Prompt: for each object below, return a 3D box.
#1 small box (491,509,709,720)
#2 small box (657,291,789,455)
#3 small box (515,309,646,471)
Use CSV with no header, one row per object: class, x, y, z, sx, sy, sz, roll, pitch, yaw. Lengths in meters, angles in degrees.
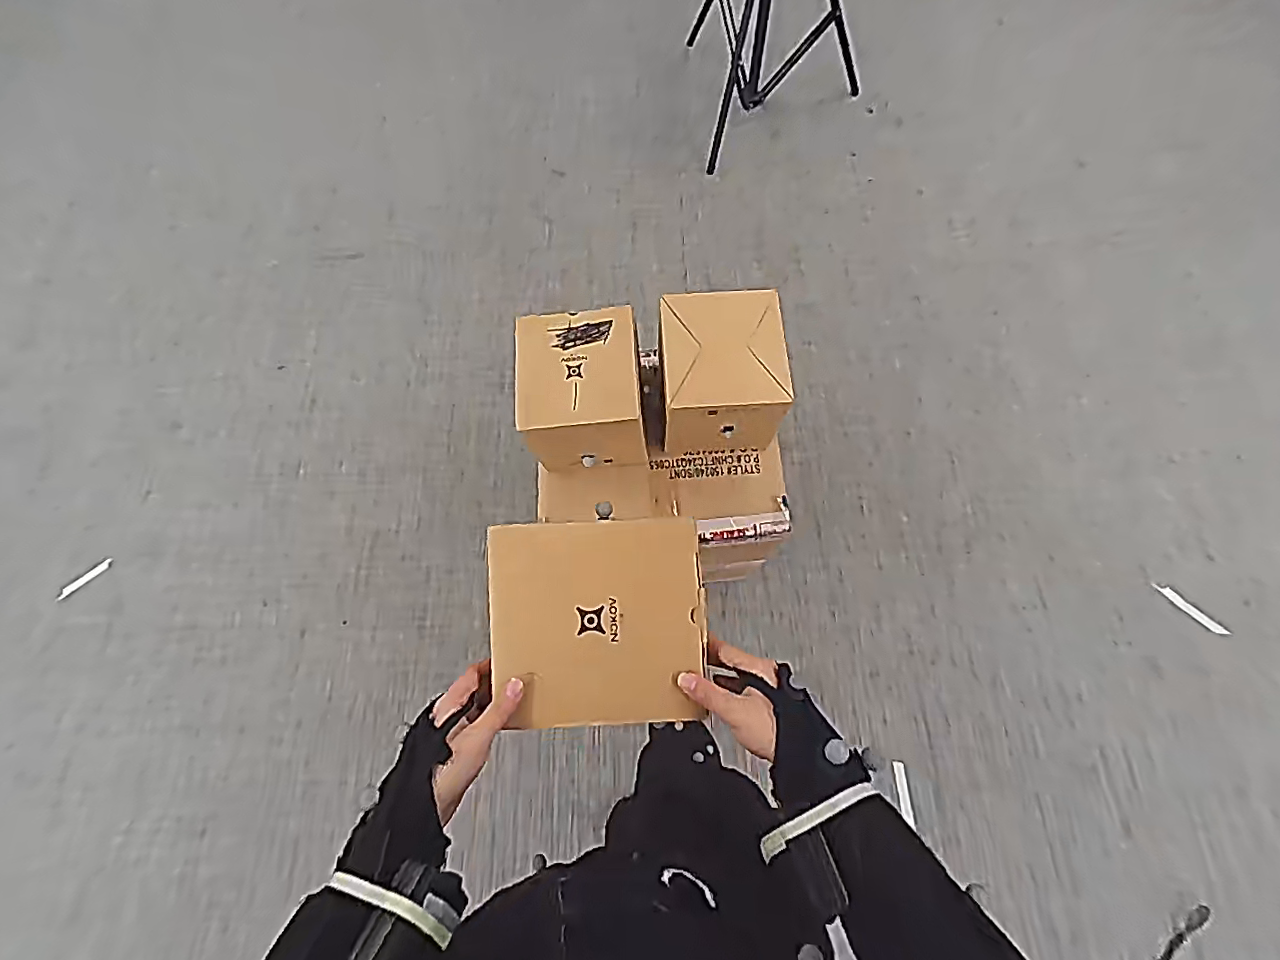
small box,-0.035,0.119,0.524,0.179,0.176,0.168,-3,84,-1
small box,0.113,-0.151,0.802,0.168,0.176,0.179,-3,72,-1
small box,-0.081,-0.126,0.806,0.168,0.176,0.179,-5,72,4
